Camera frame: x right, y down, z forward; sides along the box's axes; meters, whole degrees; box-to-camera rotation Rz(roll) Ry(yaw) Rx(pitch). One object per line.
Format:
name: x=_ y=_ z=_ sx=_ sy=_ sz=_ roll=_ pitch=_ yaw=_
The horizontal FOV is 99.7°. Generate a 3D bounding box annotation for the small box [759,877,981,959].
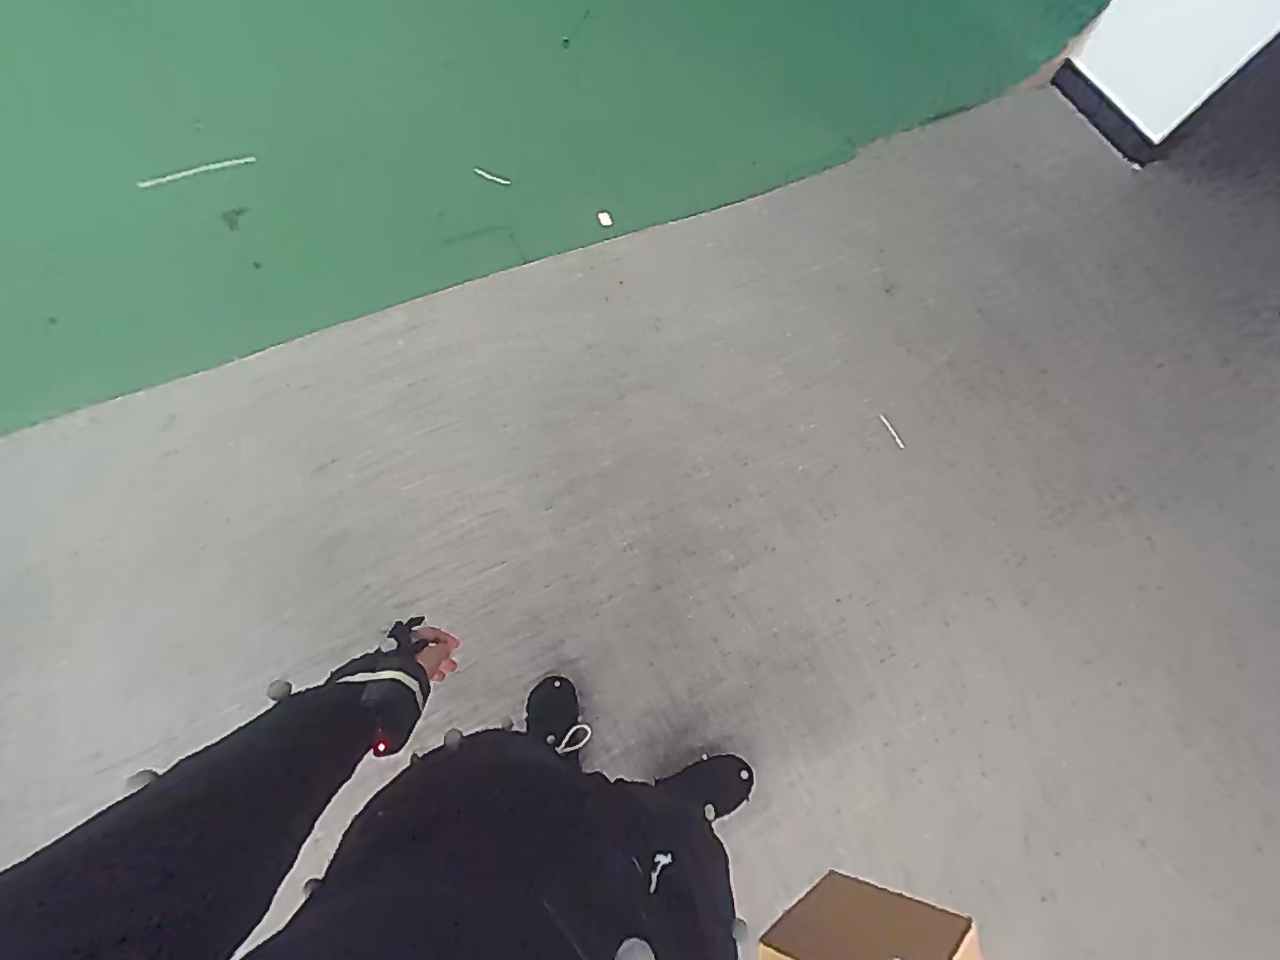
small box: x=0.246 y=0.559 z=0.563 sx=0.179 sy=0.176 sz=0.168 roll=4 pitch=77 yaw=-43
